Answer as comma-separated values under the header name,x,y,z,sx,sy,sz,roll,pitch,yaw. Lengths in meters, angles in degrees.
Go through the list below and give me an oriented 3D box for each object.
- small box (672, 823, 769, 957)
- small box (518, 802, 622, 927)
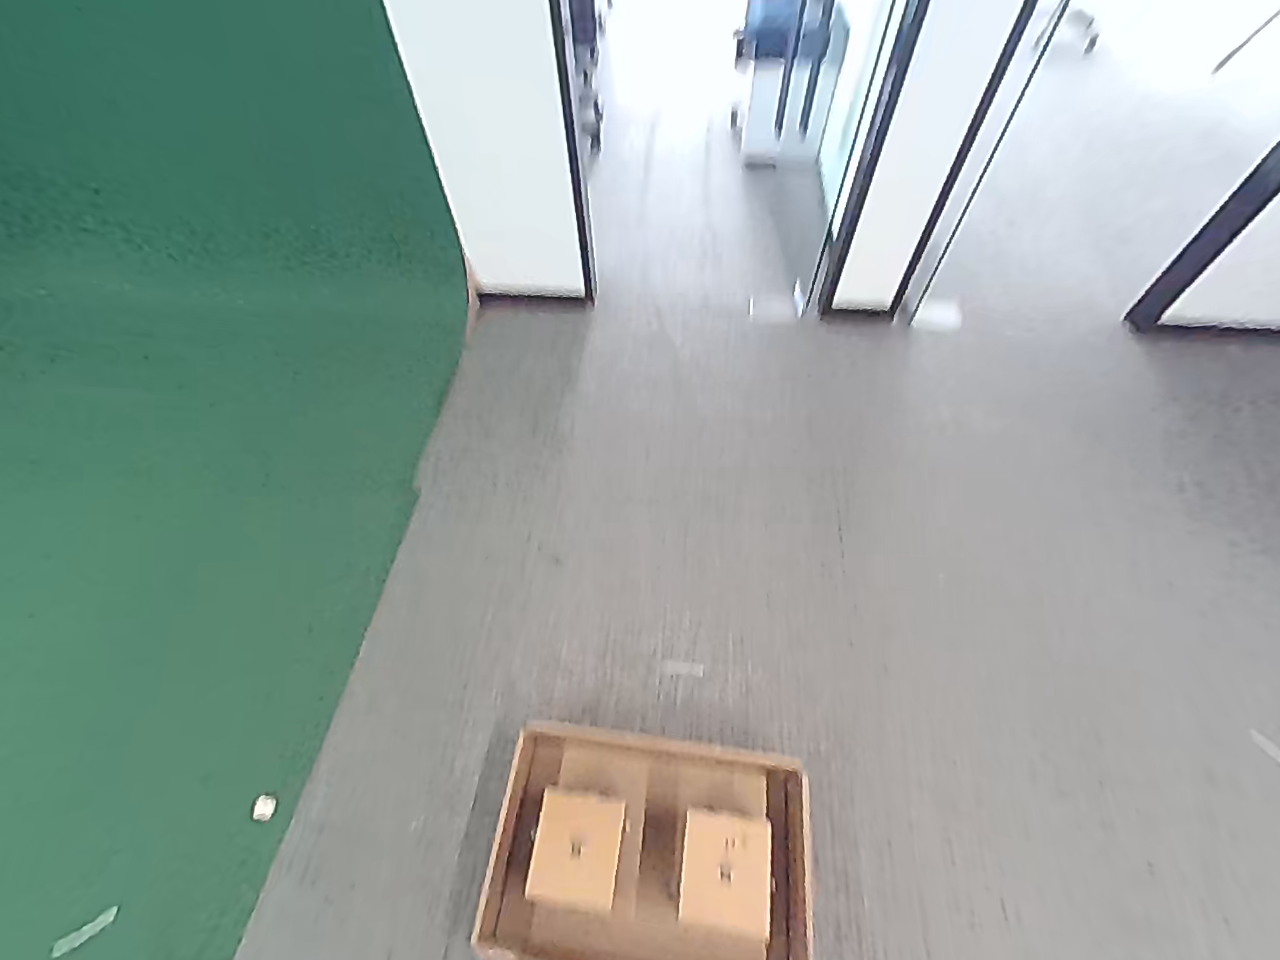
name,x,y,z,sx,sy,sz,roll,pitch,yaw
small box,0.154,0.794,1.060,0.168,0.176,0.179,7,55,6
small box,-0.129,0.767,1.086,0.168,0.176,0.179,7,54,5
